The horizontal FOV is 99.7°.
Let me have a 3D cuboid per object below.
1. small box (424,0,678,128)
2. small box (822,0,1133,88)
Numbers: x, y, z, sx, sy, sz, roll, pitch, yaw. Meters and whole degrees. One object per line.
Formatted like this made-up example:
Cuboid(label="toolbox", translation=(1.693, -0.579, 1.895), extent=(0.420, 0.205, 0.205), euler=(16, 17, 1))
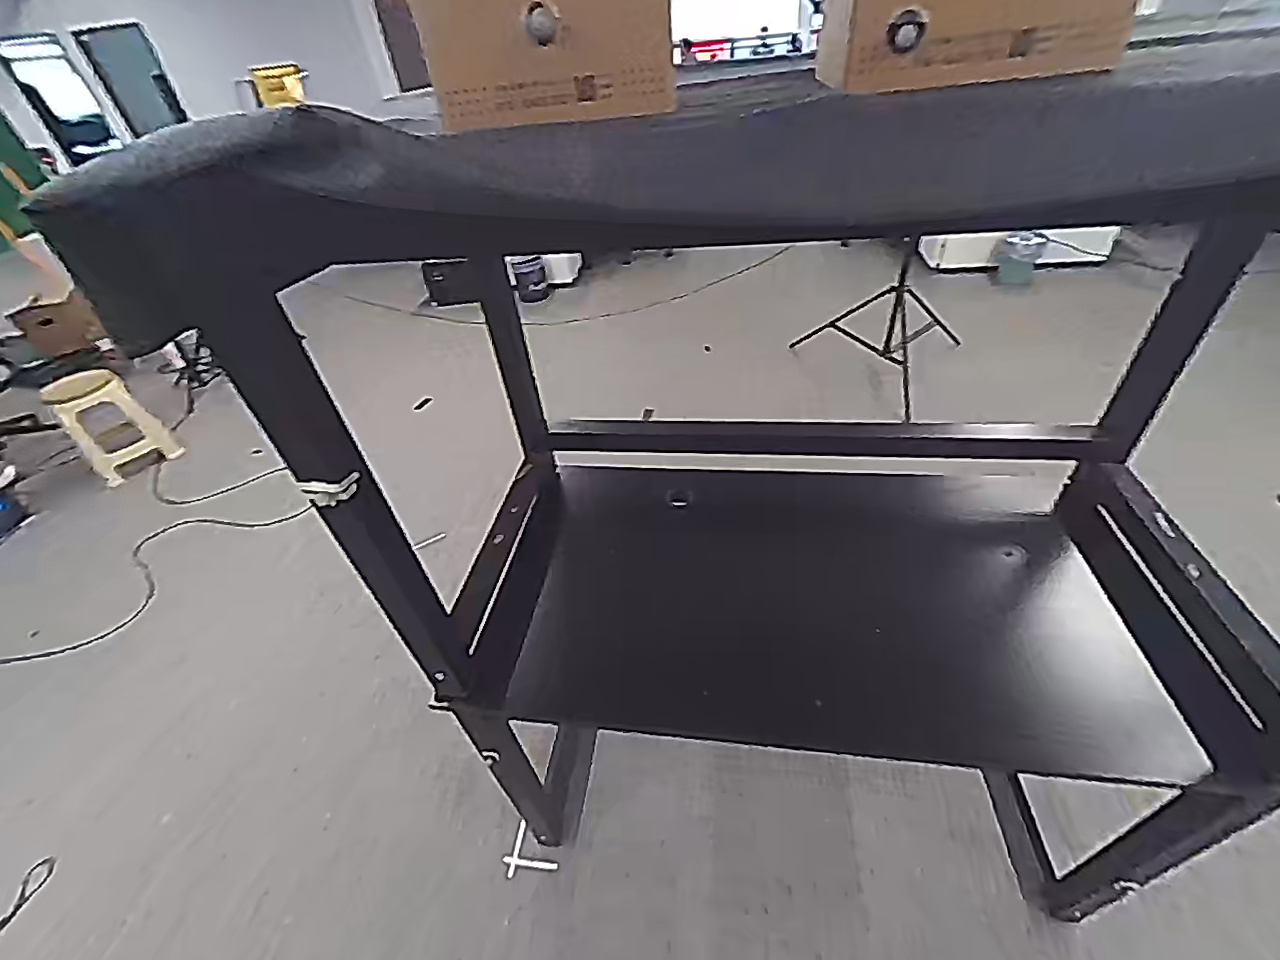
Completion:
Cuboid(label="small box", translation=(-0.061, -0.368, 0.395), extent=(0.168, 0.176, 0.179), euler=(-5, 39, 3))
Cuboid(label="small box", translation=(0.224, -0.375, 0.364), extent=(0.168, 0.176, 0.179), euler=(1, 39, 9))
